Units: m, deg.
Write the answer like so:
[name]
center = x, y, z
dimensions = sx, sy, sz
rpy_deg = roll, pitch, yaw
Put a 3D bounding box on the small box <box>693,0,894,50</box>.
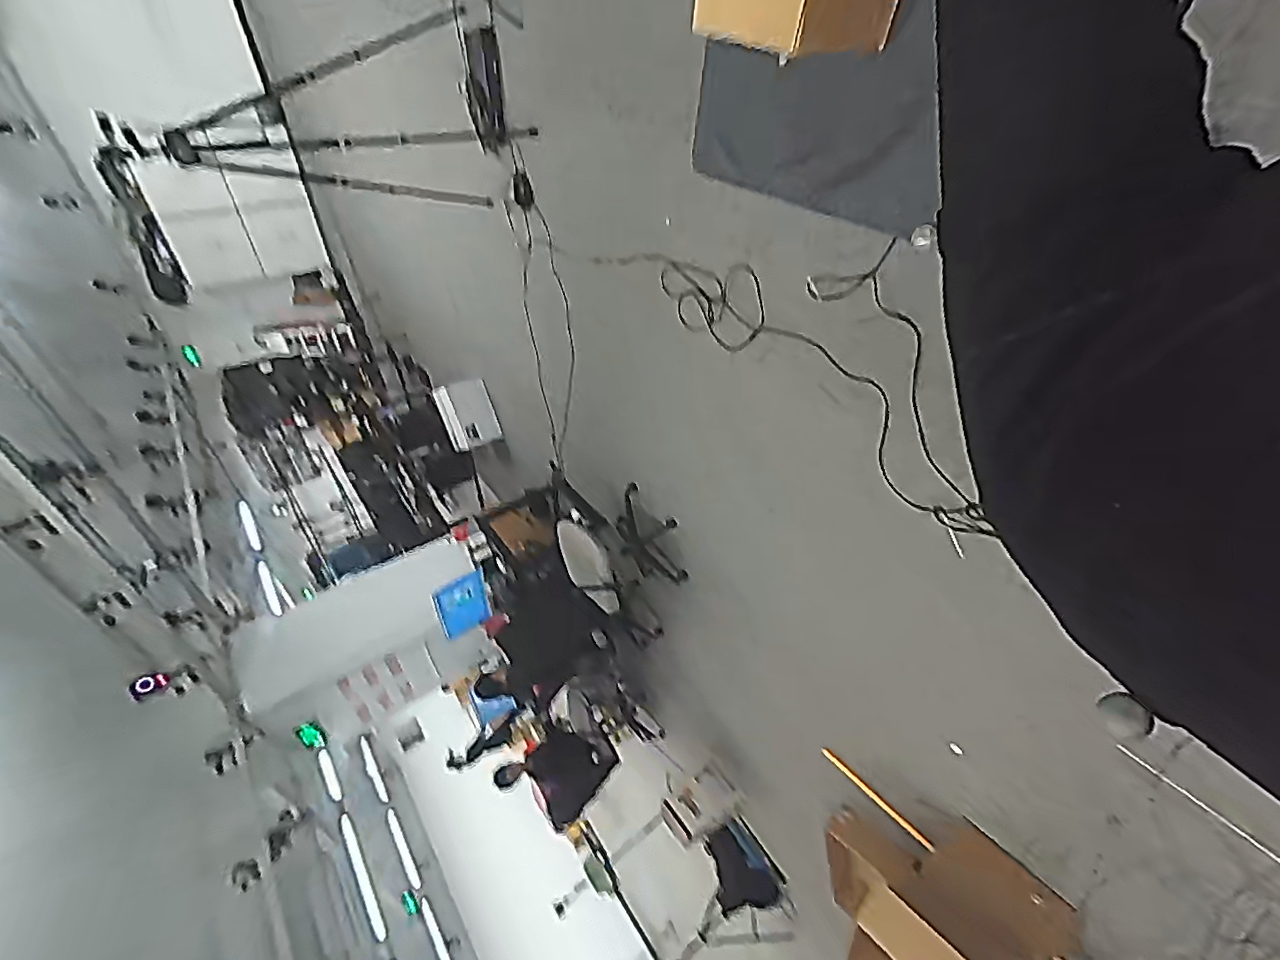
[small box]
center = 0.189, -0.615, 0.629
dimensions = 0.179, 0.176, 0.168
rpy_deg = 43, 146, 32
